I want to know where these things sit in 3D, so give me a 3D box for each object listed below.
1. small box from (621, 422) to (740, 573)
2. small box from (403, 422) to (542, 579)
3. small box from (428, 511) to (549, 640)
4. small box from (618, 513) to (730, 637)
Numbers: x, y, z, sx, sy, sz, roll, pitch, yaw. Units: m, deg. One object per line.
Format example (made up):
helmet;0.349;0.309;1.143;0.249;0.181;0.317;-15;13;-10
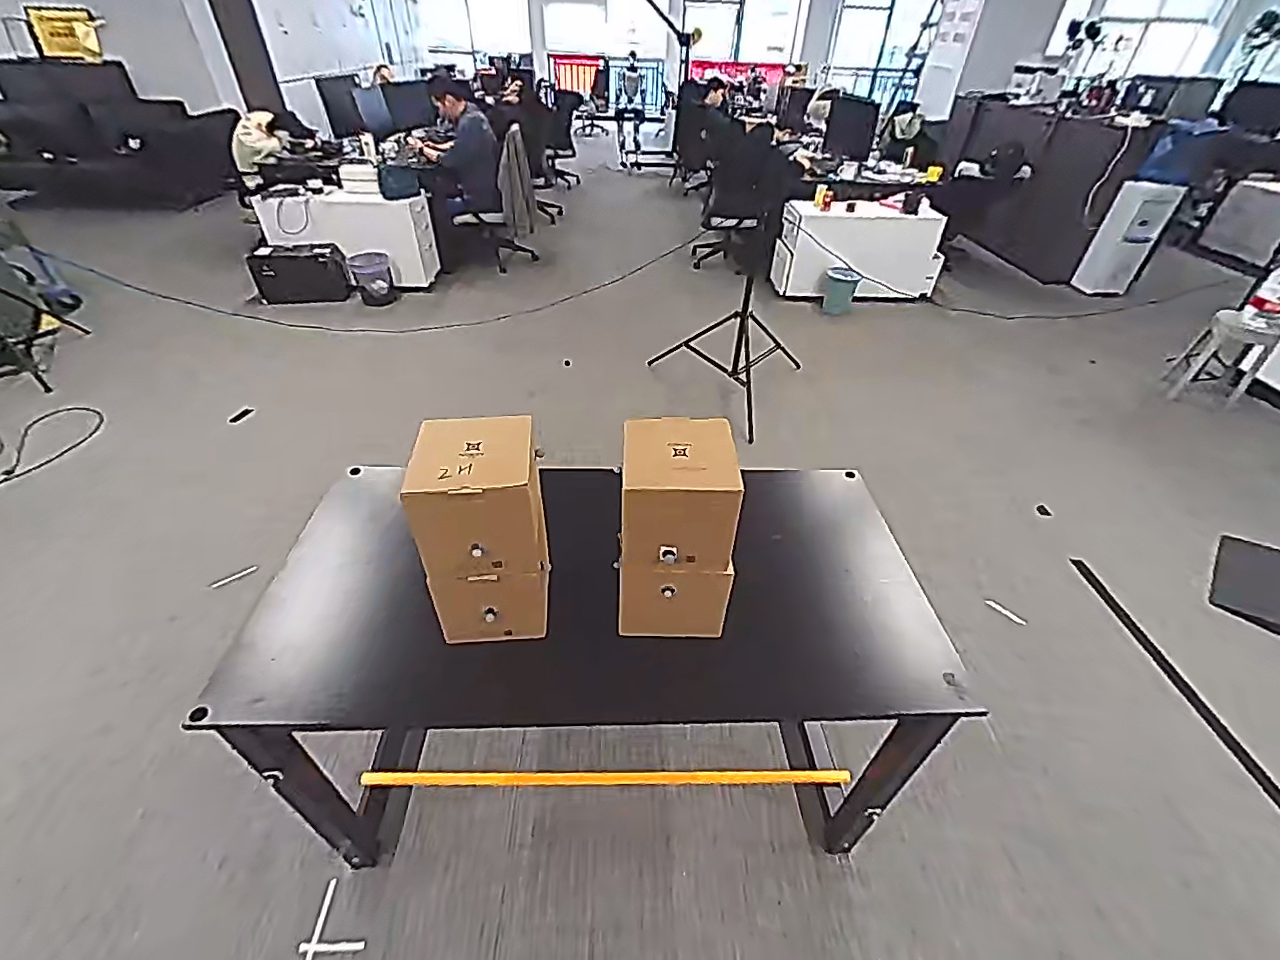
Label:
small box;0.054;0.026;0.848;0.168;0.176;0.179;-1;40;-1
small box;-0.242;0.028;0.829;0.168;0.176;0.179;-4;39;-6
small box;-0.247;0.160;0.930;0.168;0.176;0.179;-3;40;-5
small box;0.052;0.158;0.943;0.179;0.176;0.168;1;39;-2
